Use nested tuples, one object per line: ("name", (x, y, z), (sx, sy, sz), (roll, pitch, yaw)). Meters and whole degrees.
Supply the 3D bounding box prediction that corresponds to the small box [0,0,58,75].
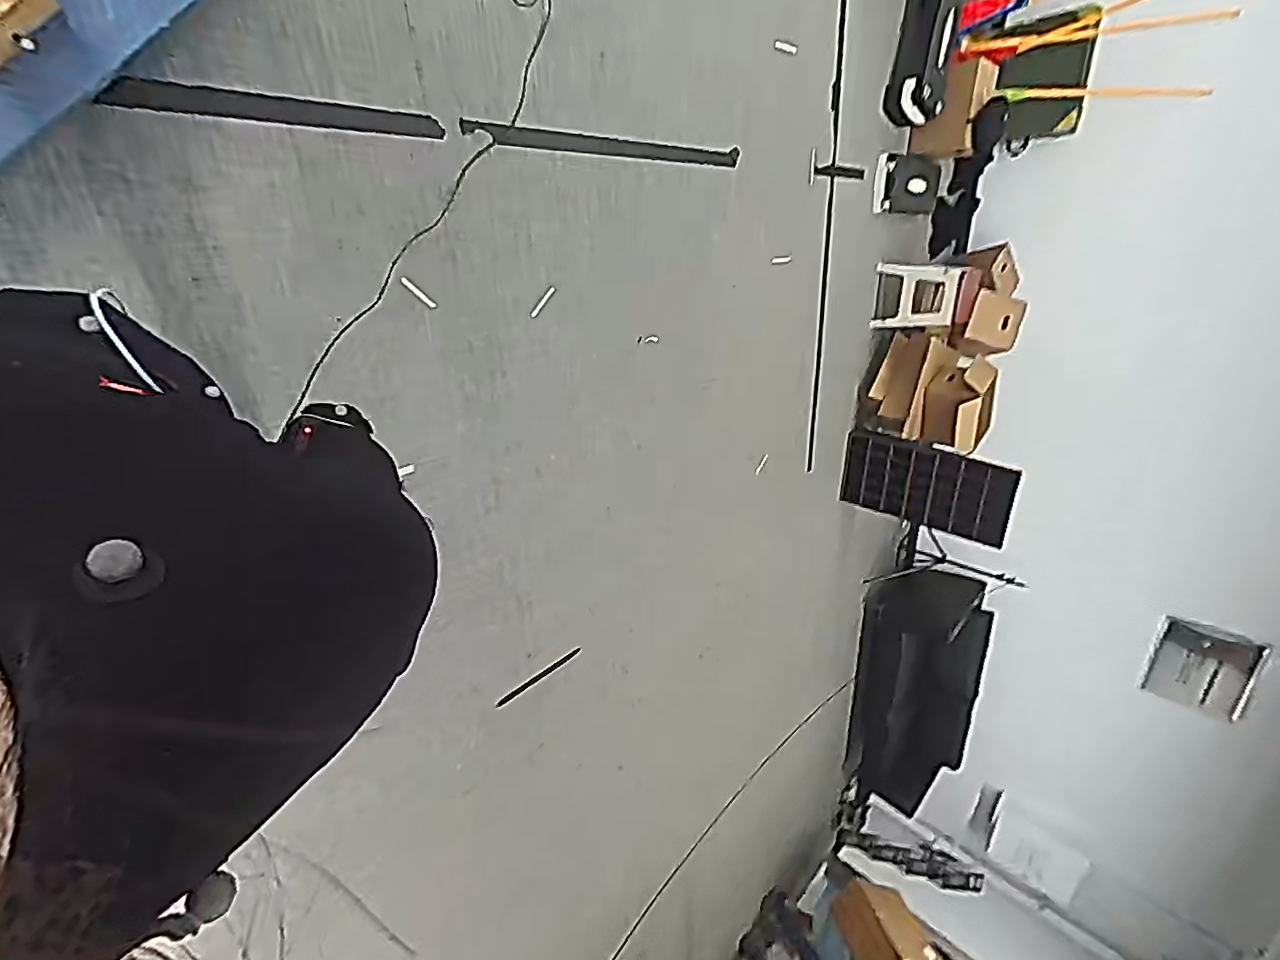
("small box", (-0.887, -0.643, 0.670), (0.179, 0.176, 0.168), (41, 75, -46))
